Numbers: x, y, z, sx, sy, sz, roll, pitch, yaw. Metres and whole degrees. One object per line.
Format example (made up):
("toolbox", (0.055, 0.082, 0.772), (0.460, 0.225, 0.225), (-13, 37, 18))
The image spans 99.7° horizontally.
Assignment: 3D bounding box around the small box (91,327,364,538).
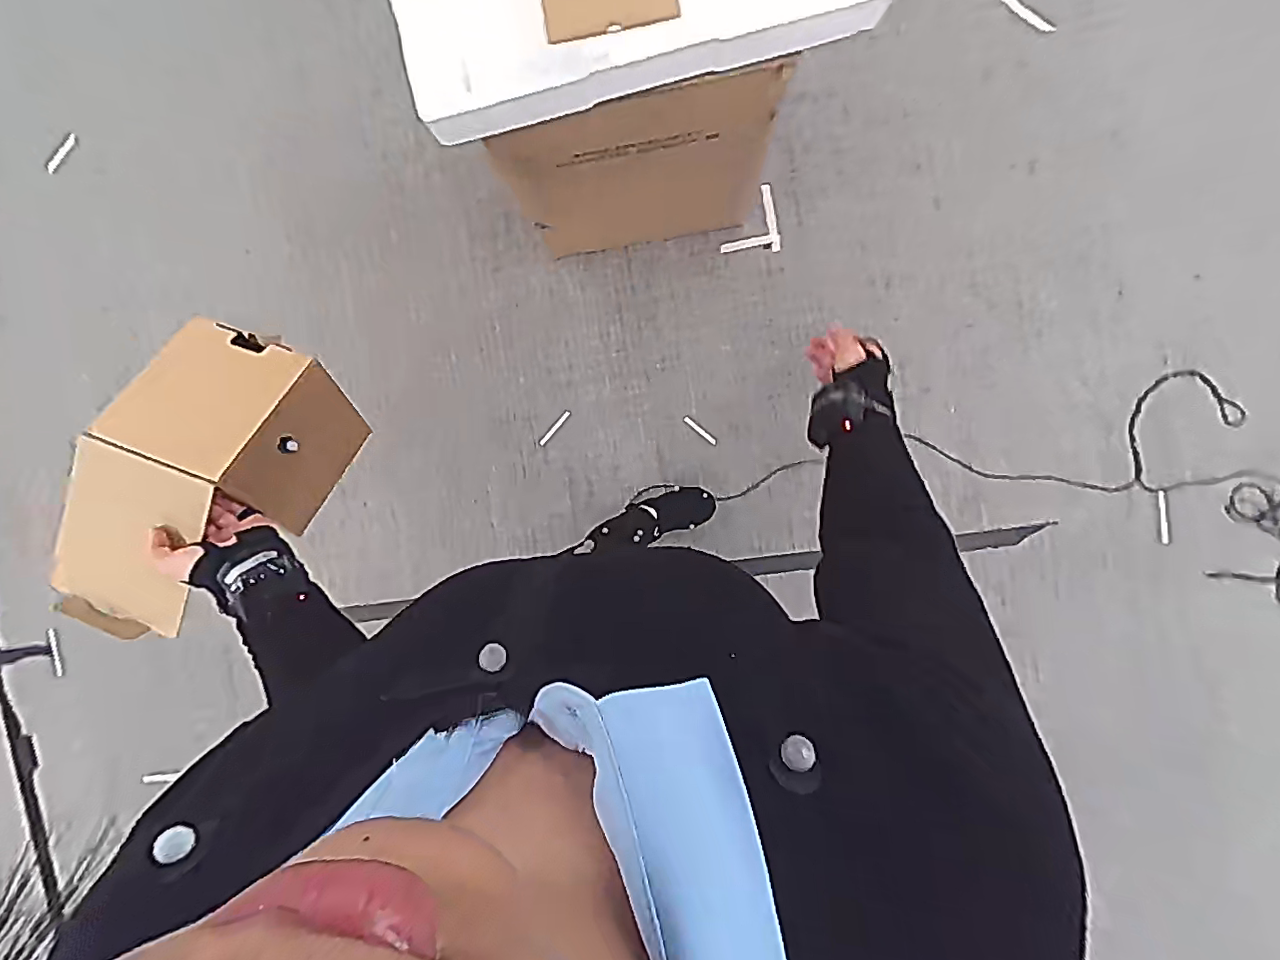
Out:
("small box", (-0.481, -0.050, 0.670), (0.168, 0.176, 0.179), (19, 64, 6))
